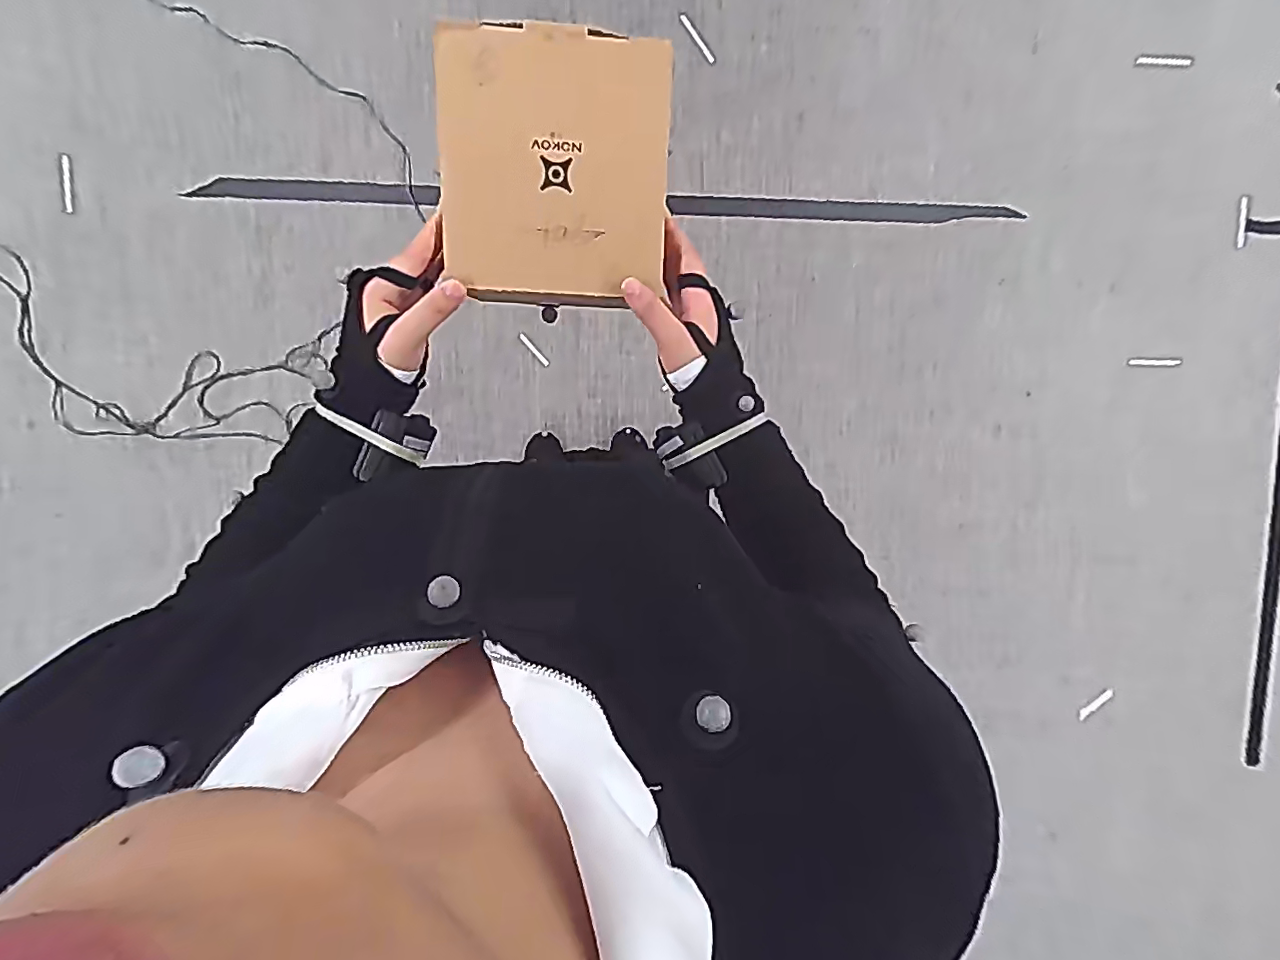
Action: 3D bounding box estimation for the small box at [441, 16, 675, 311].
[{"bbox_3d":[-0.068,-0.248,0.472,0.168,0.176,0.179,1,104,-6],"label":"small box"}]
